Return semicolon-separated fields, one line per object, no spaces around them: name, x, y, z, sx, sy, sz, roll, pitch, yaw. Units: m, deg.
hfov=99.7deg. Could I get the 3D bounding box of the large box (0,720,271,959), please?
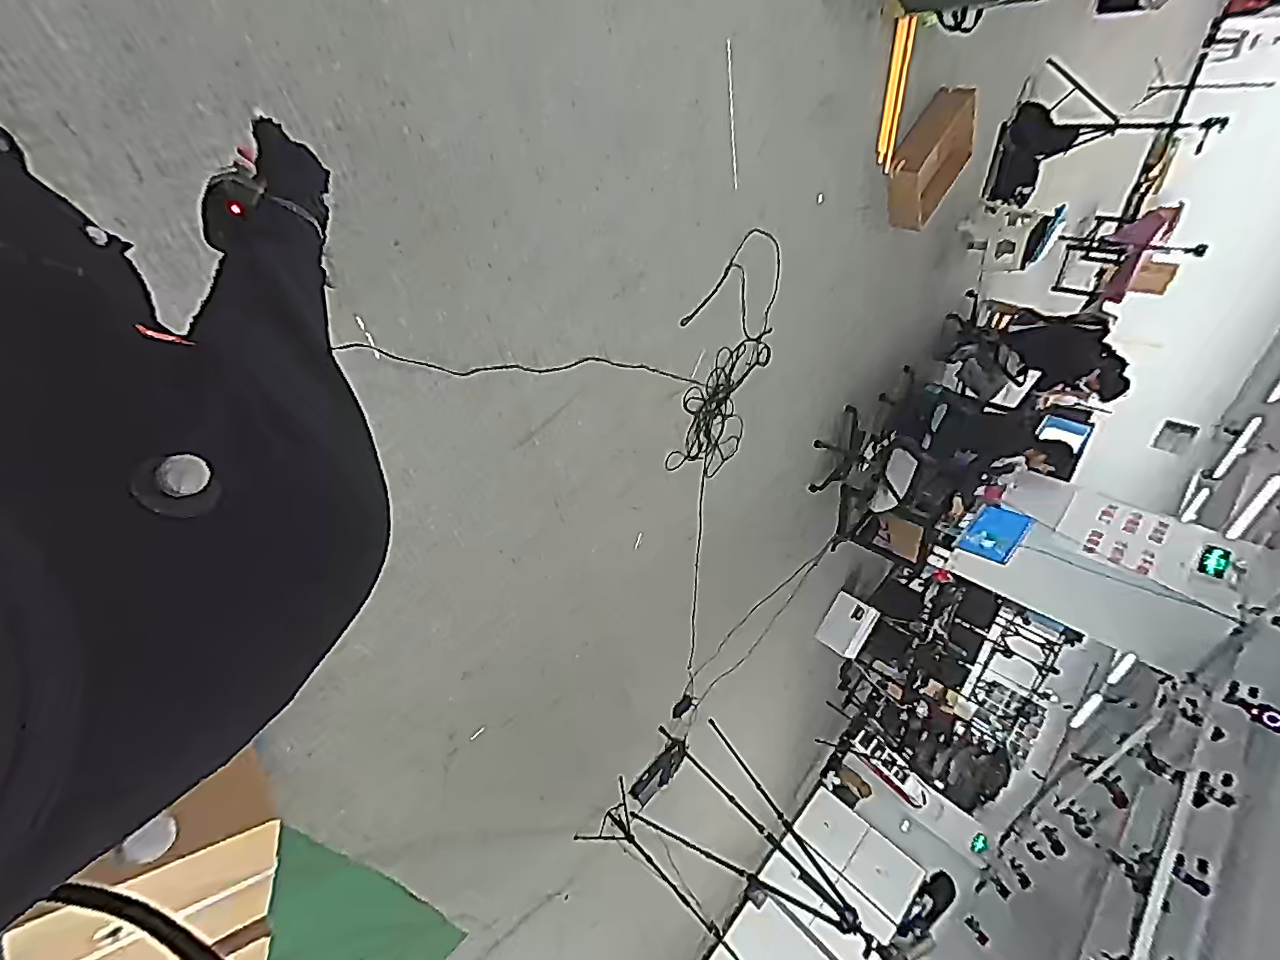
large box;-1.091;0.805;1.180;0.408;0.320;0.320;-1;115;-49
